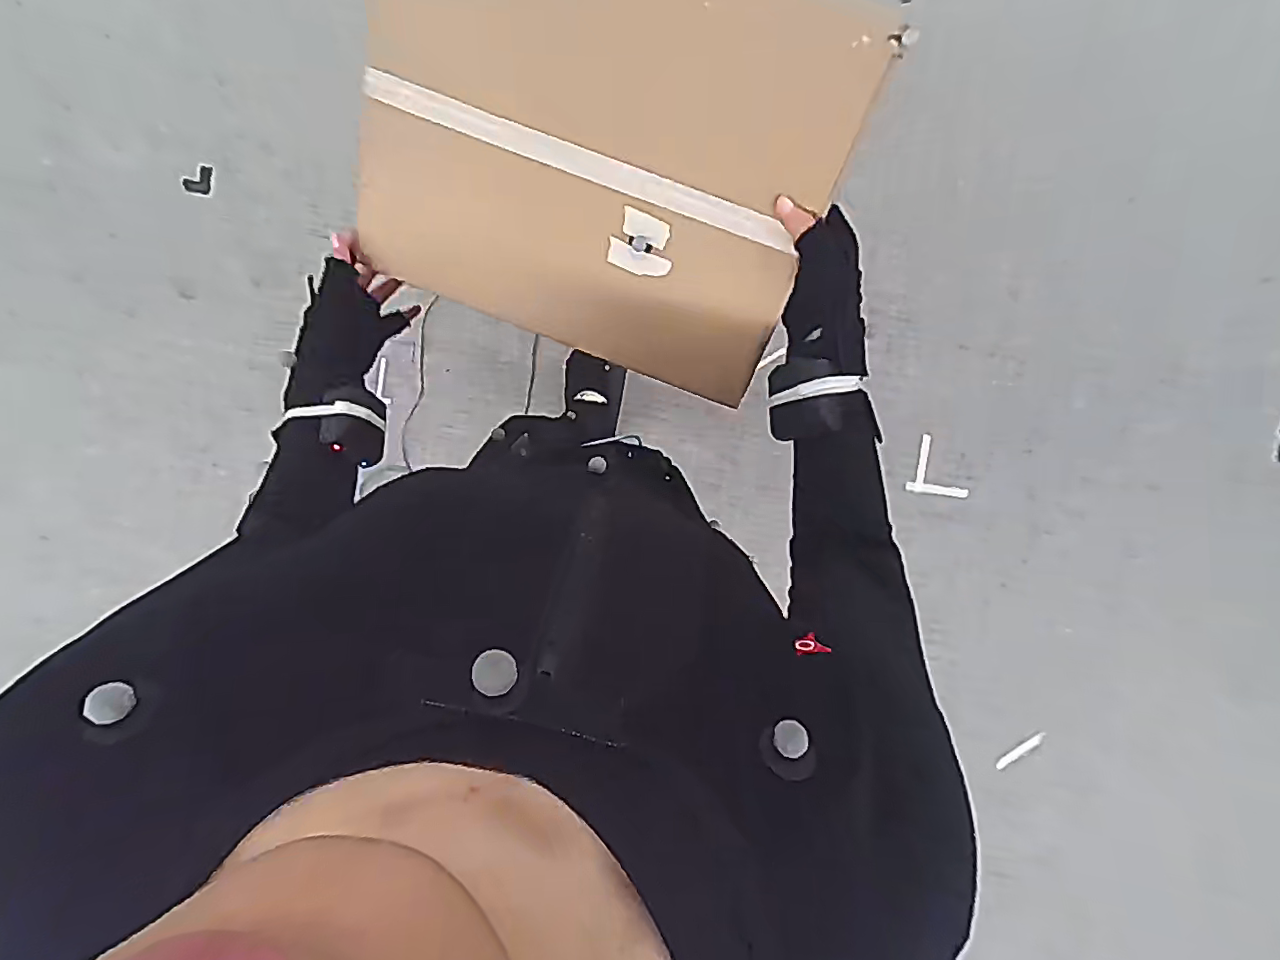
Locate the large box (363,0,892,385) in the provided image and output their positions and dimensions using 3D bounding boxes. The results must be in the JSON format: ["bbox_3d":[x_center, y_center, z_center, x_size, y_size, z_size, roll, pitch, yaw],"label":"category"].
[{"bbox_3d":[-0.024,-0.350,0.596,0.408,0.320,0.320,20,120,-1],"label":"large box"}]
